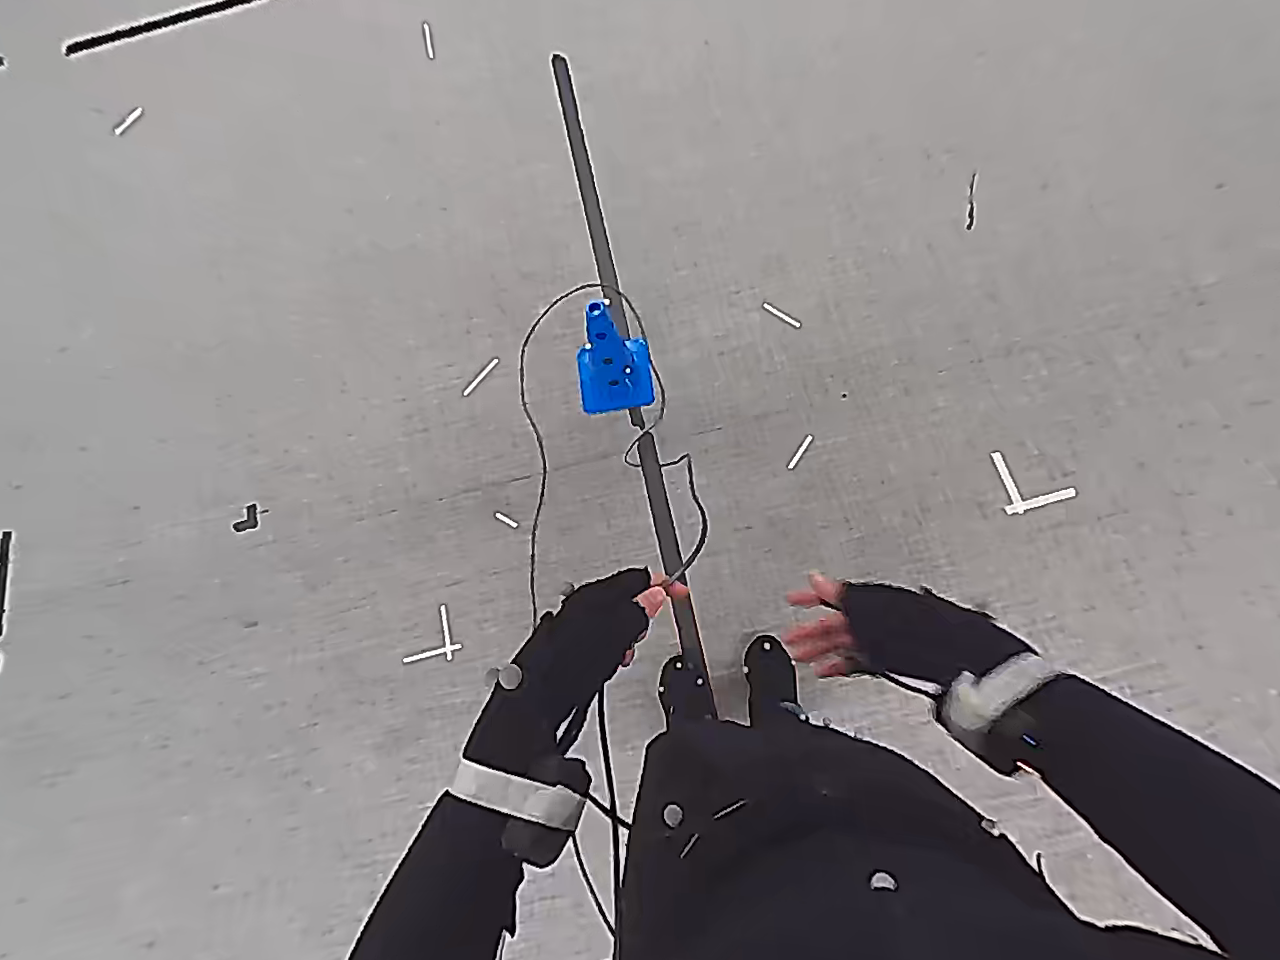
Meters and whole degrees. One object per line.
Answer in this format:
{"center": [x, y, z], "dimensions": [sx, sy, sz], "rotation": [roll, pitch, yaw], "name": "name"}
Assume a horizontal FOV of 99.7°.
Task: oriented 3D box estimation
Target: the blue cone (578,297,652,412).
{"center": [-0.083, -0.318, 1.311], "dimensions": [0.193, 0.380, 0.192], "rotation": [-11, 76, 3], "name": "blue cone"}
